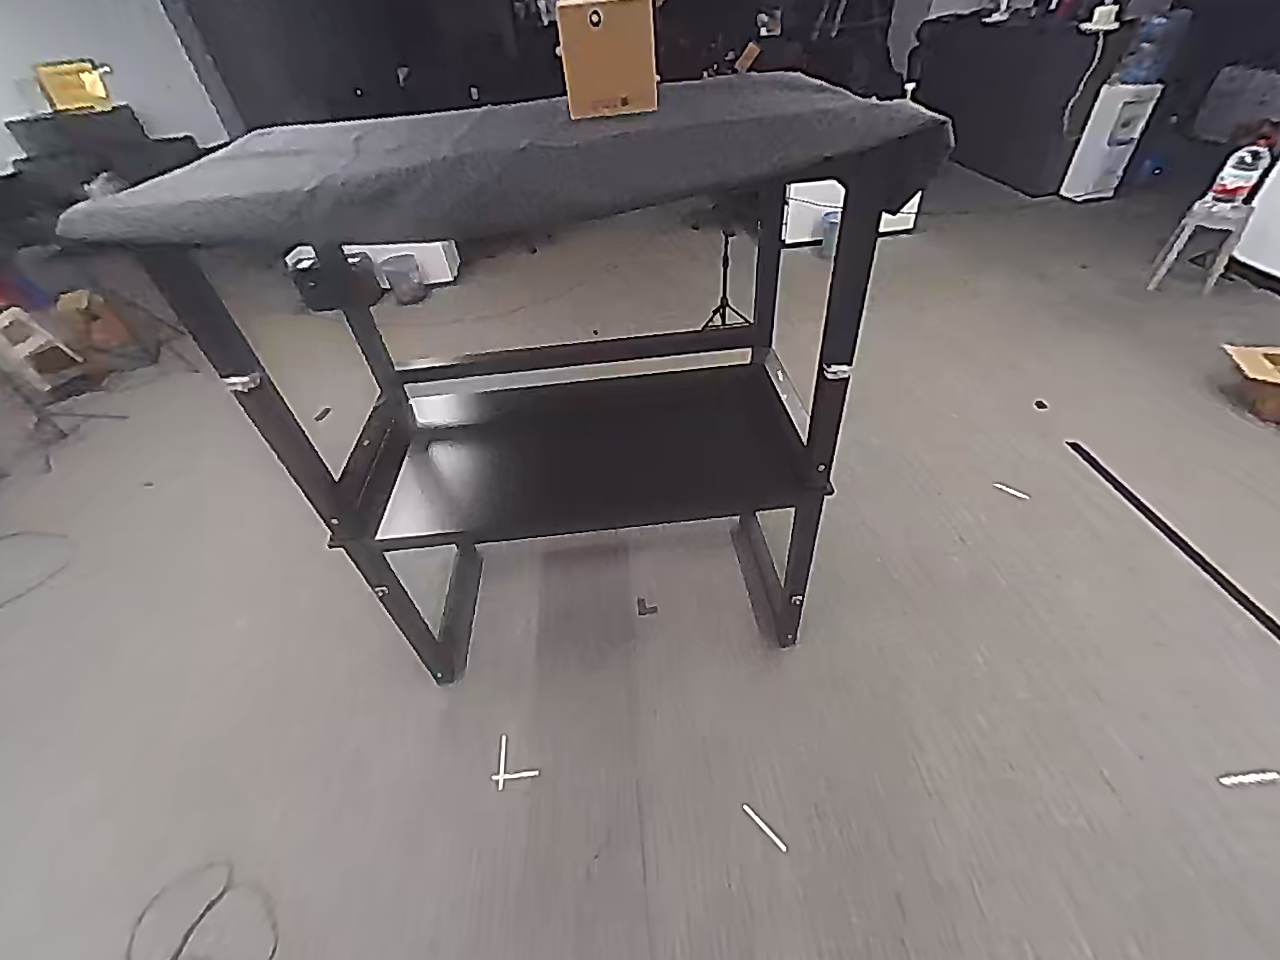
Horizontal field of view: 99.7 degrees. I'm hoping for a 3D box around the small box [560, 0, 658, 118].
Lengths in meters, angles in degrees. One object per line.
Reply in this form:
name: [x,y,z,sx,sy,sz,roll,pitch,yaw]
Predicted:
small box: [-0.057,-0.811,1.040,0.168,0.176,0.179,-7,42,0]
